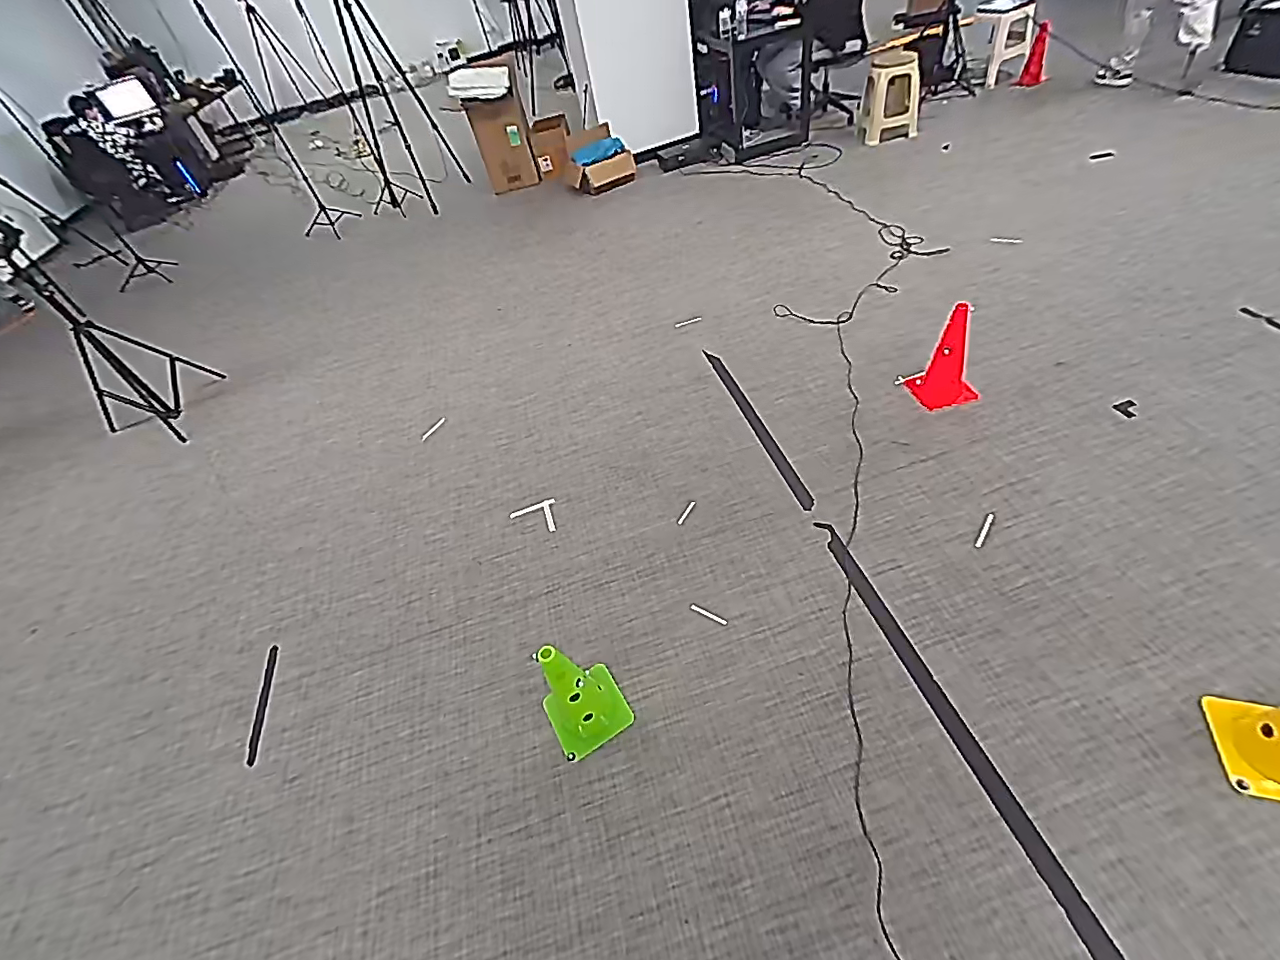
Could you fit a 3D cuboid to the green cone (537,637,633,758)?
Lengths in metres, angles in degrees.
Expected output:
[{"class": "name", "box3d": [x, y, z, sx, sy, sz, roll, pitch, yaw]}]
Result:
[{"class": "green cone", "box3d": [-0.173, 0.497, 1.339, 0.200, 0.368, 0.202, -29, 46, -14]}]

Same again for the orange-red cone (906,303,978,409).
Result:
[{"class": "orange-red cone", "box3d": [1.099, -0.457, 1.908, 0.198, 0.360, 0.199, -13, 47, 3]}]
